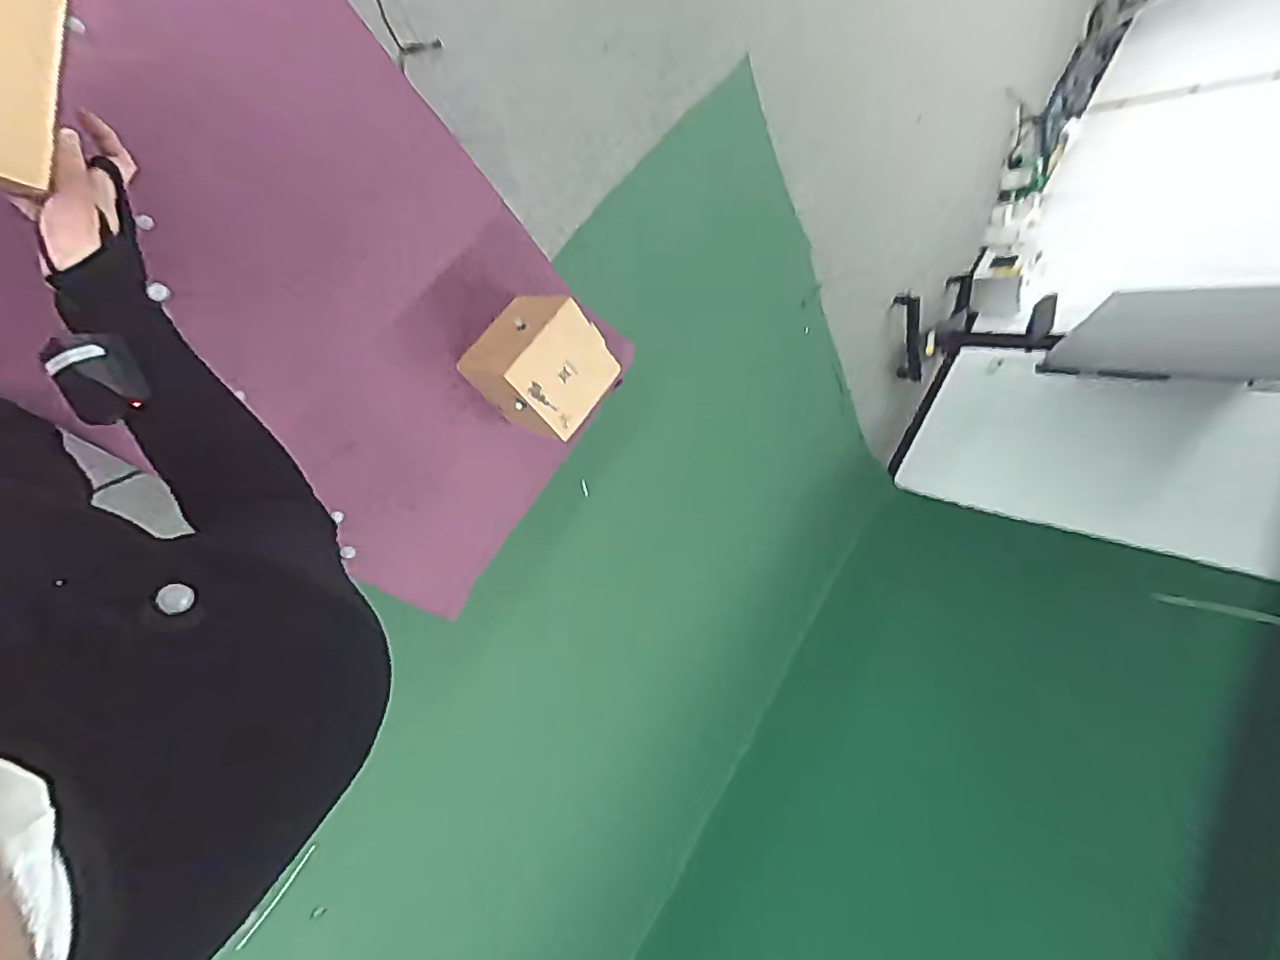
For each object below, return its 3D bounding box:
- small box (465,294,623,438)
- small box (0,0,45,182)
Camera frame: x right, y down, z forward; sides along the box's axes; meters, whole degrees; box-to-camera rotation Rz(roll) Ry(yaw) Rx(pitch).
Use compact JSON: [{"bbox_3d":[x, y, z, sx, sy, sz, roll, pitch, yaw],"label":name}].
[{"bbox_3d":[-0.168,-0.201,0.938,0.179,0.176,0.168,-55,133,-16],"label":"small box"},{"bbox_3d":[-0.498,-0.310,0.333,0.168,0.176,0.179,3,106,-52],"label":"small box"}]
